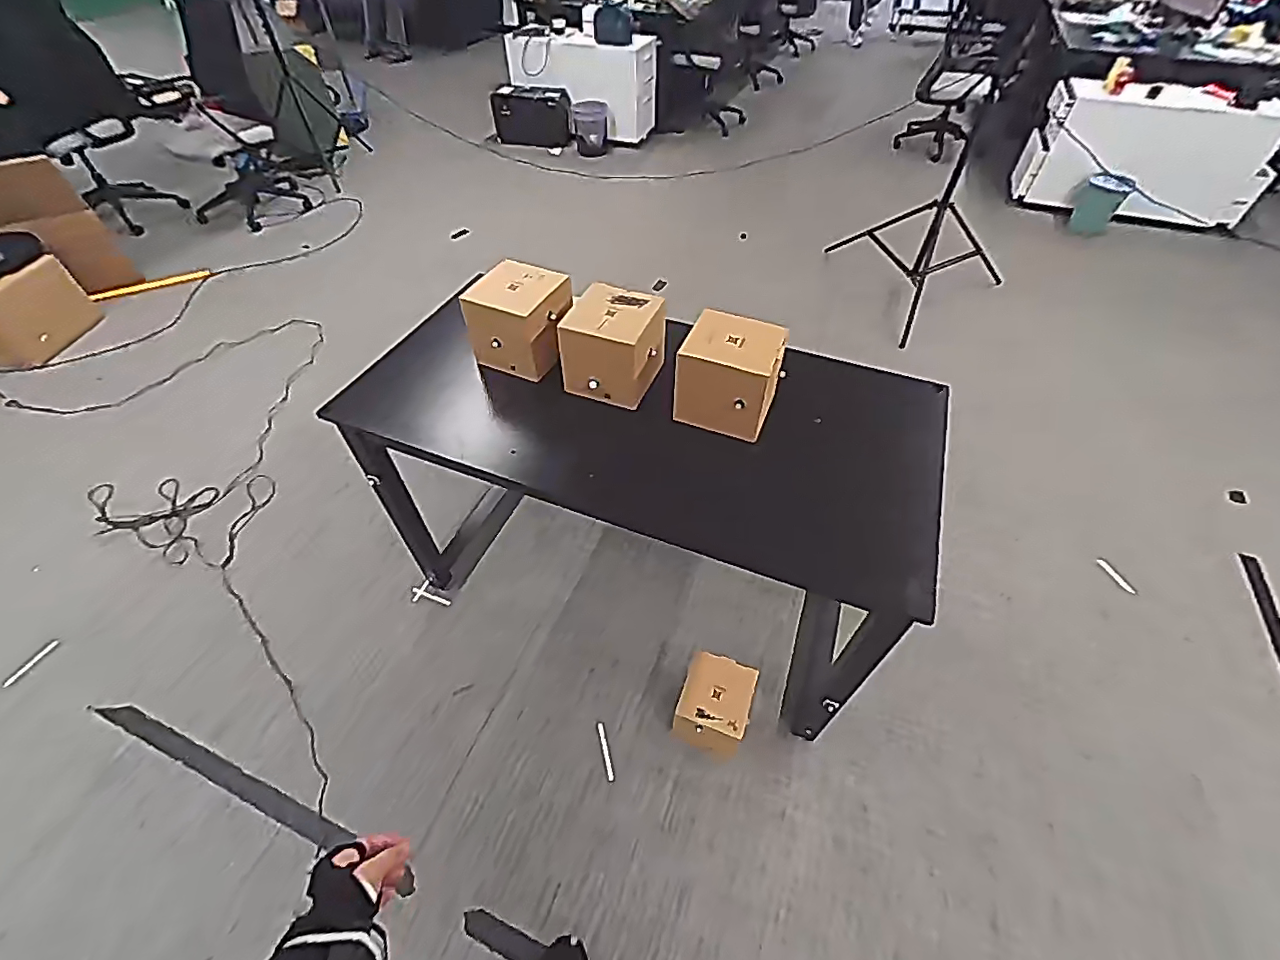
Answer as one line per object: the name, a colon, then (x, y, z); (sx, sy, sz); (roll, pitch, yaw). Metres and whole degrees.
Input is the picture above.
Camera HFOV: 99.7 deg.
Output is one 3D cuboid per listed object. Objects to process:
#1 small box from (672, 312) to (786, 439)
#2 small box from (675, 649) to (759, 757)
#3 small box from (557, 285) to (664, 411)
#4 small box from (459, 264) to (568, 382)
small box: (0.173, -0.204, 1.077); (0.179, 0.176, 0.168); (17, 50, 15)
small box: (0.191, 0.567, 1.373); (0.168, 0.176, 0.179); (16, 51, 14)
small box: (-0.058, -0.276, 1.135); (0.168, 0.176, 0.179); (16, 53, 13)
small box: (-0.263, -0.344, 1.194); (0.168, 0.176, 0.179); (20, 52, 15)
